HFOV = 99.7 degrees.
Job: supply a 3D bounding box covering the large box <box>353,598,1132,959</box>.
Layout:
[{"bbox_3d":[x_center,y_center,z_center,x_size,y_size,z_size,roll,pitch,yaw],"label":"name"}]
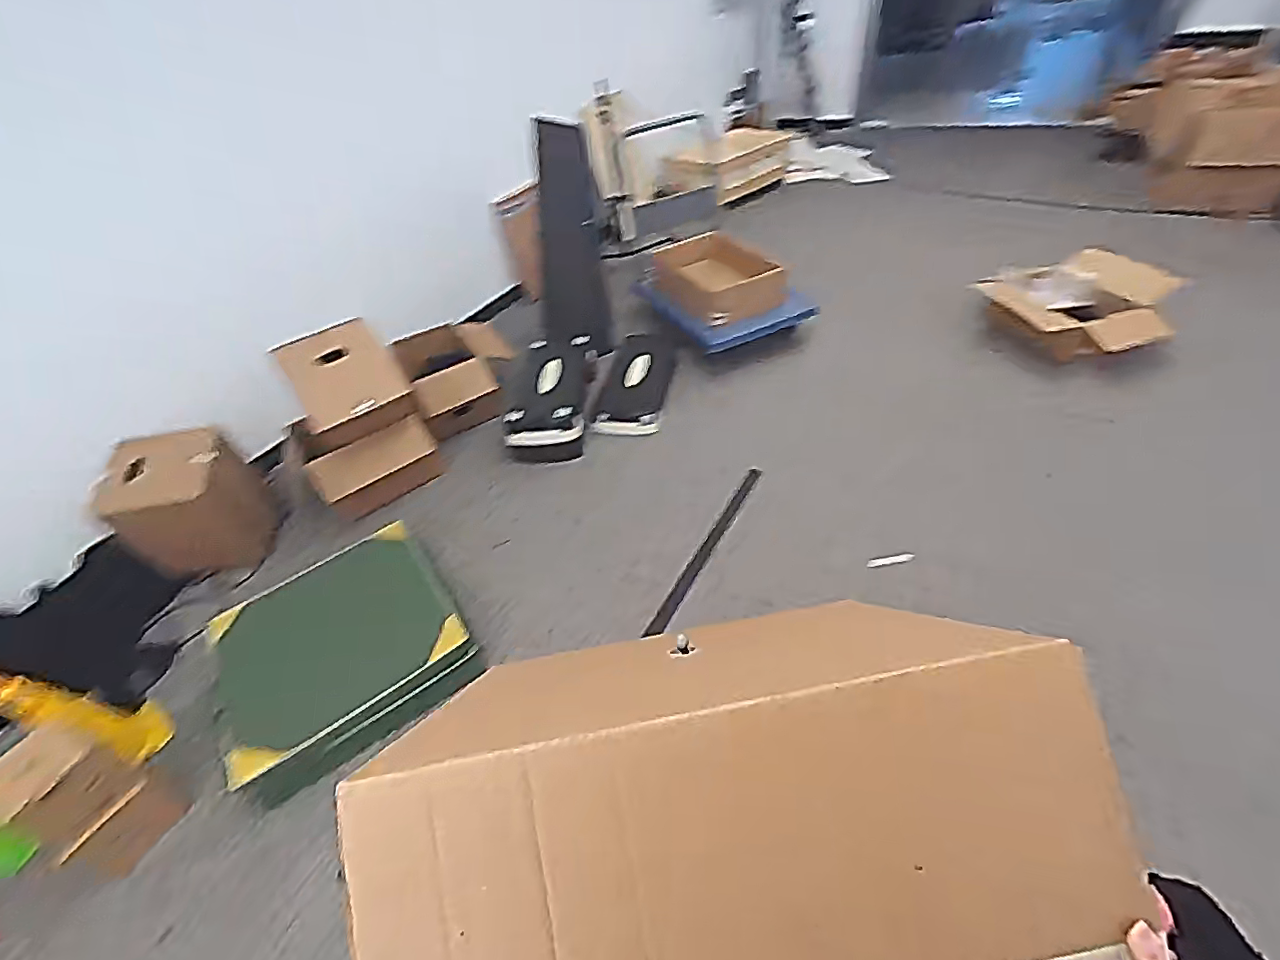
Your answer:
[{"bbox_3d":[0.068,0.302,0.431,0.408,0.320,0.320,-12,82,-2],"label":"large box"}]
